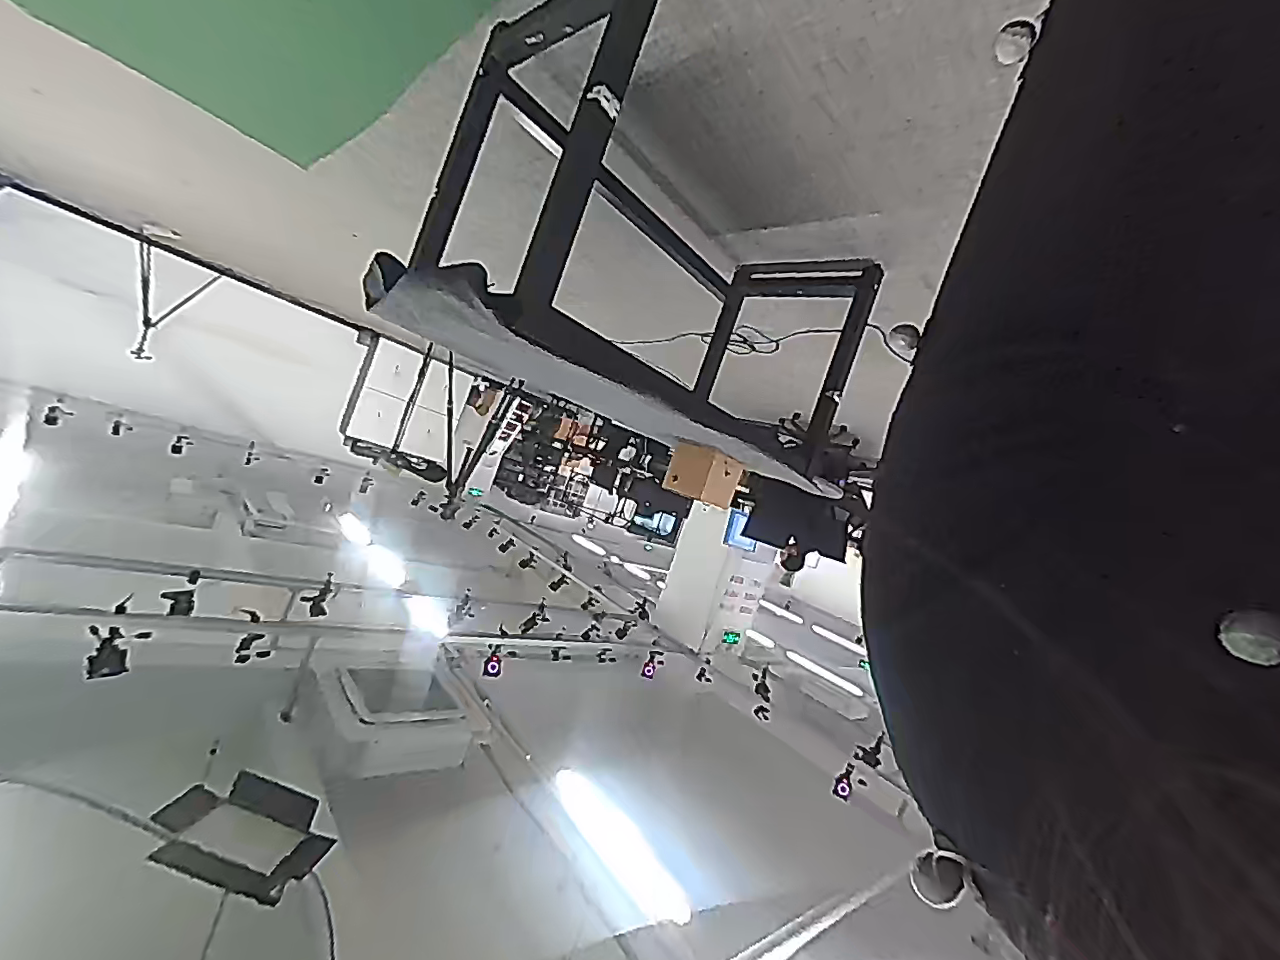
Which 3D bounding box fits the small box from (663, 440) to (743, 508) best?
[{"bbox_3d":[0.211,-0.025,1.800,0.168,0.176,0.179,20,180,-45],"label":"small box"}]
